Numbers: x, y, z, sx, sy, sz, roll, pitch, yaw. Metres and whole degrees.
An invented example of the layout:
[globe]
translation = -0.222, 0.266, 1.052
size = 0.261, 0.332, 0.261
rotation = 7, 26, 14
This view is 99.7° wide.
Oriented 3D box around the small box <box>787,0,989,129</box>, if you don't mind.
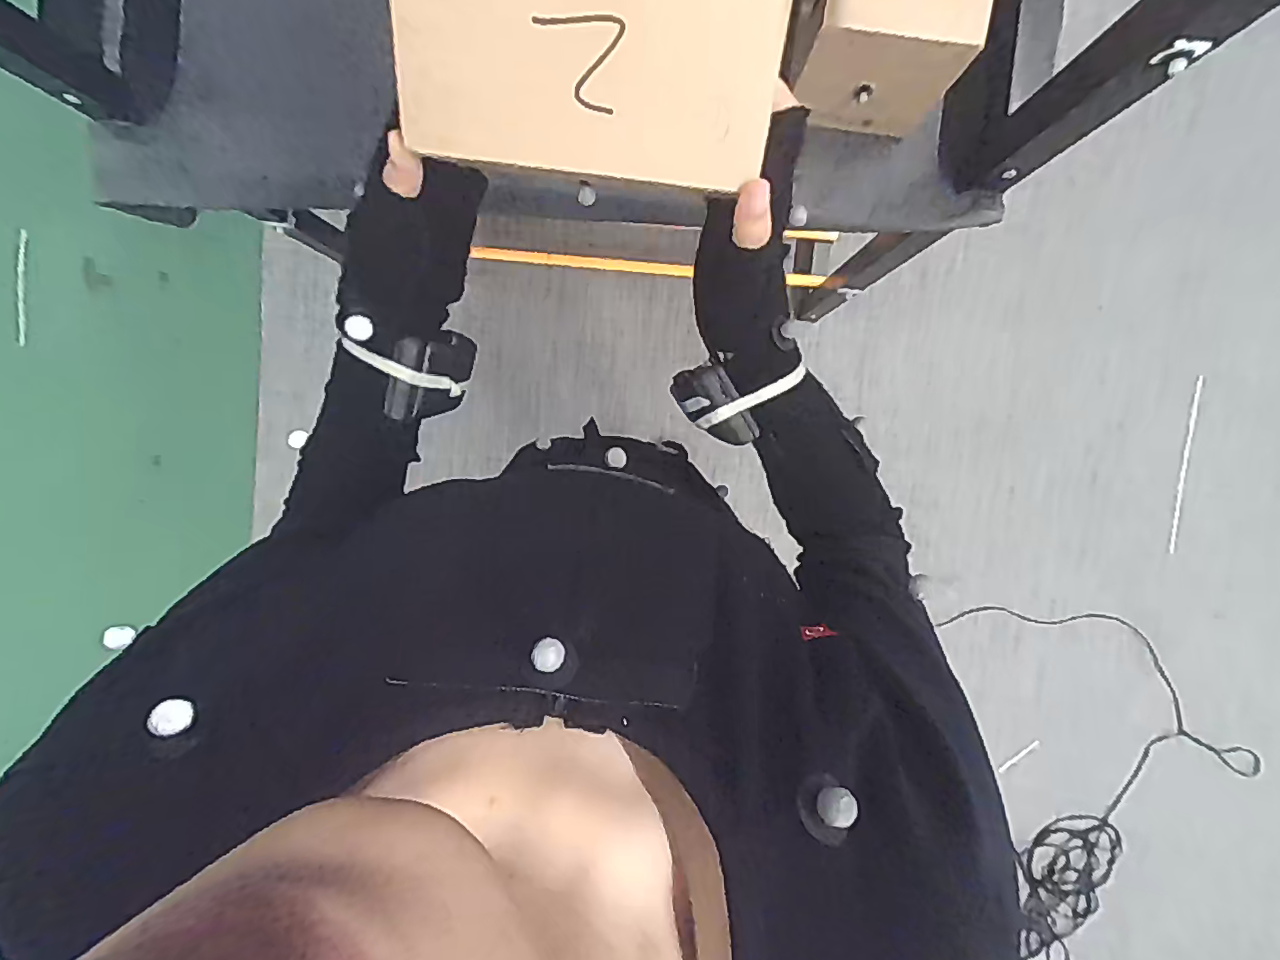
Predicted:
[small box]
translation = 0.275, -0.537, 0.612
size = 0.168, 0.176, 0.179
rotation = 9, 94, 0
